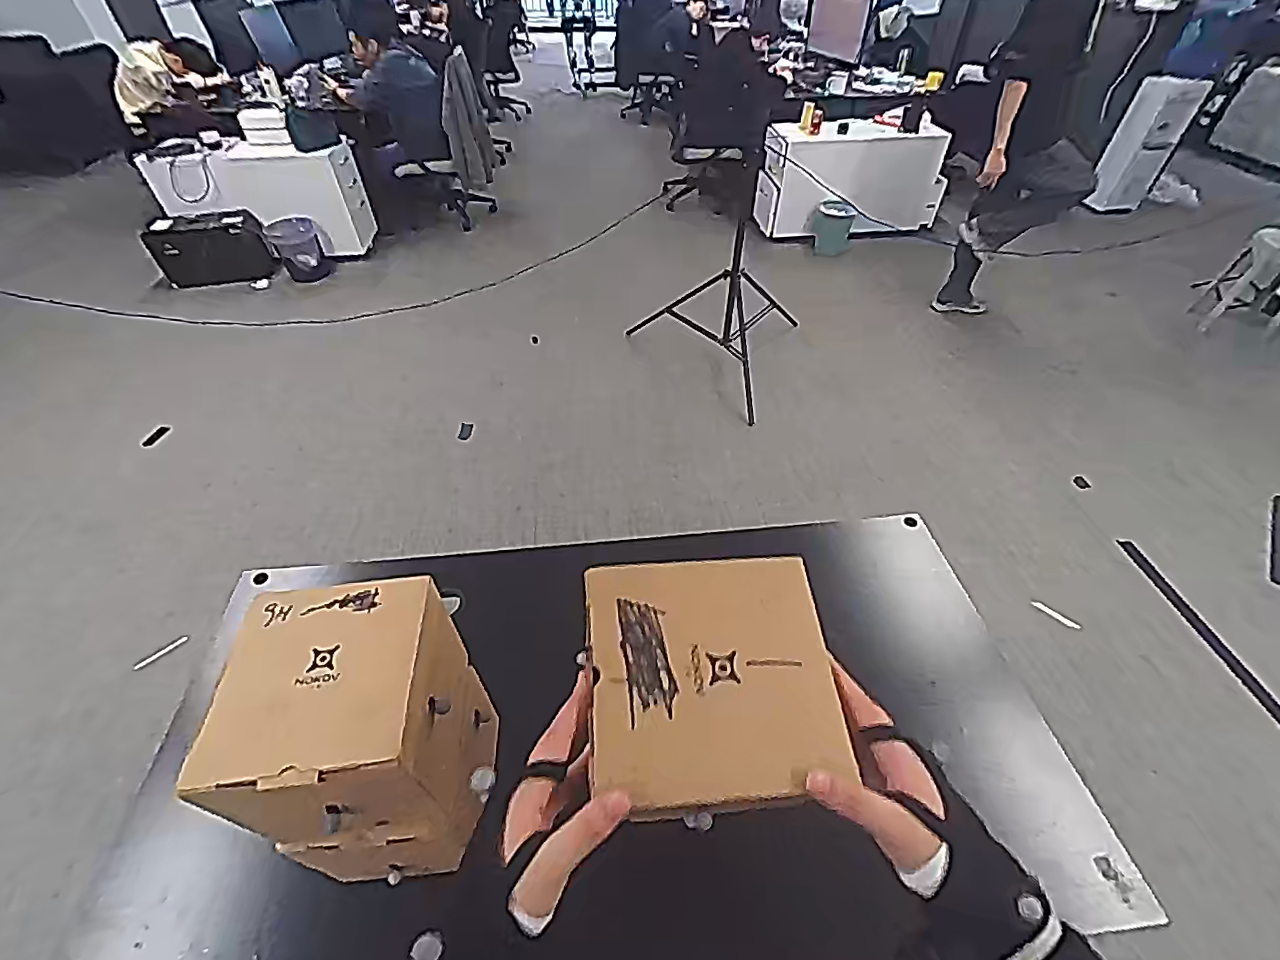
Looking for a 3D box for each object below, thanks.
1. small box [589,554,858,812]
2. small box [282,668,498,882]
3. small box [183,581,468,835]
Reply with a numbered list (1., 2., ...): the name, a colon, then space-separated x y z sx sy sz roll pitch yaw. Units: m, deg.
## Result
1. small box: 0.049 0.176 0.457 0.179 0.176 0.168 -2 56 -5
2. small box: -0.268 0.345 0.634 0.168 0.176 0.179 -4 46 -3
3. small box: -0.272 0.224 0.523 0.168 0.176 0.179 -5 47 -5
